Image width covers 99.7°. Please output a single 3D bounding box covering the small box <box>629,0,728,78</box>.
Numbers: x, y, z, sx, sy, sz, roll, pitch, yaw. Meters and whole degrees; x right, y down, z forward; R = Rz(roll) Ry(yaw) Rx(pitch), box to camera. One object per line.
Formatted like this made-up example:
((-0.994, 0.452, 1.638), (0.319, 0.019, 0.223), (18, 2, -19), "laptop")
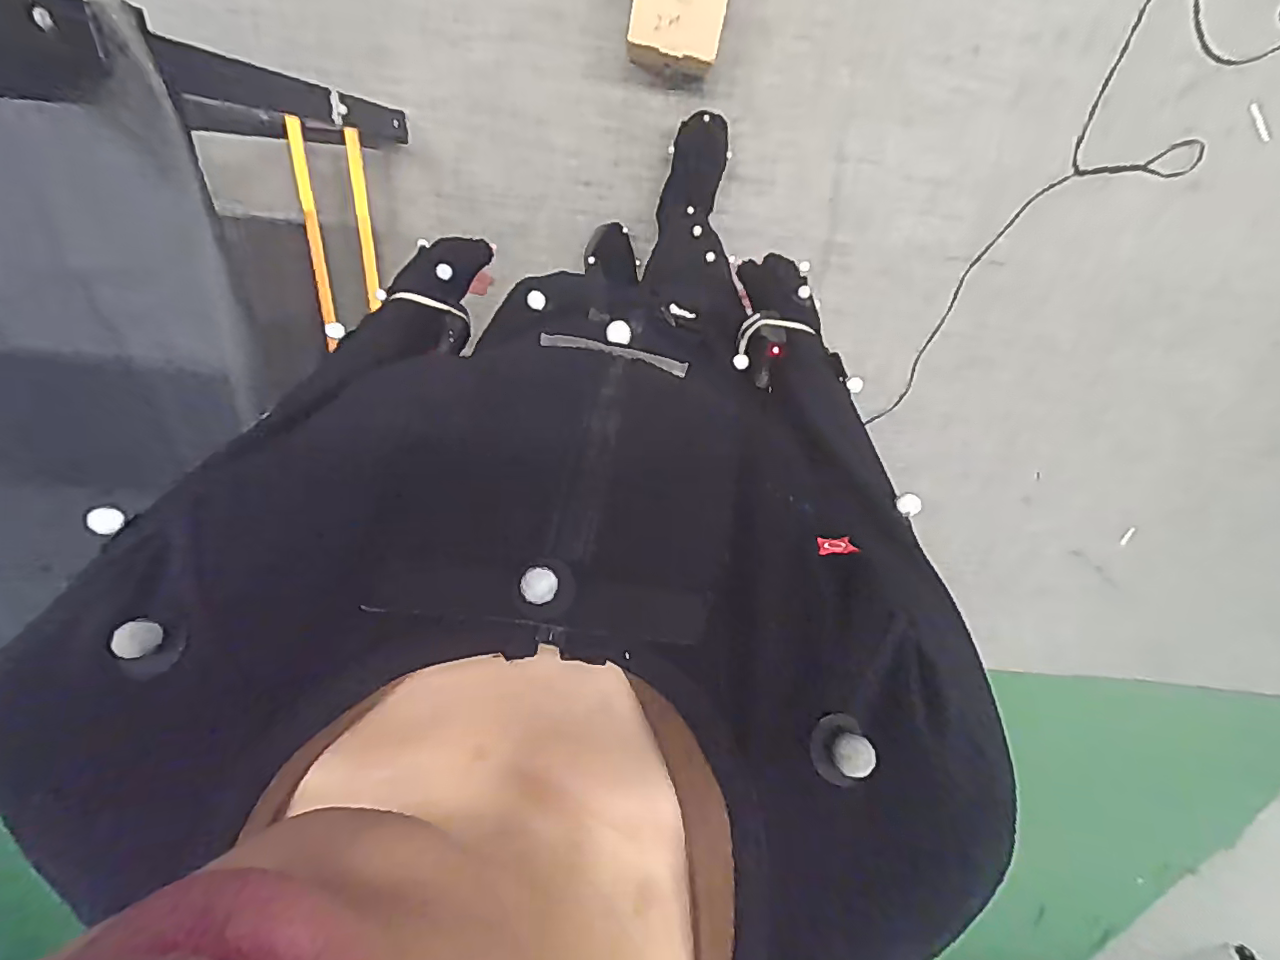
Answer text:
((0.075, -0.893, 1.017), (0.168, 0.176, 0.179), (10, 118, -5), "small box")
